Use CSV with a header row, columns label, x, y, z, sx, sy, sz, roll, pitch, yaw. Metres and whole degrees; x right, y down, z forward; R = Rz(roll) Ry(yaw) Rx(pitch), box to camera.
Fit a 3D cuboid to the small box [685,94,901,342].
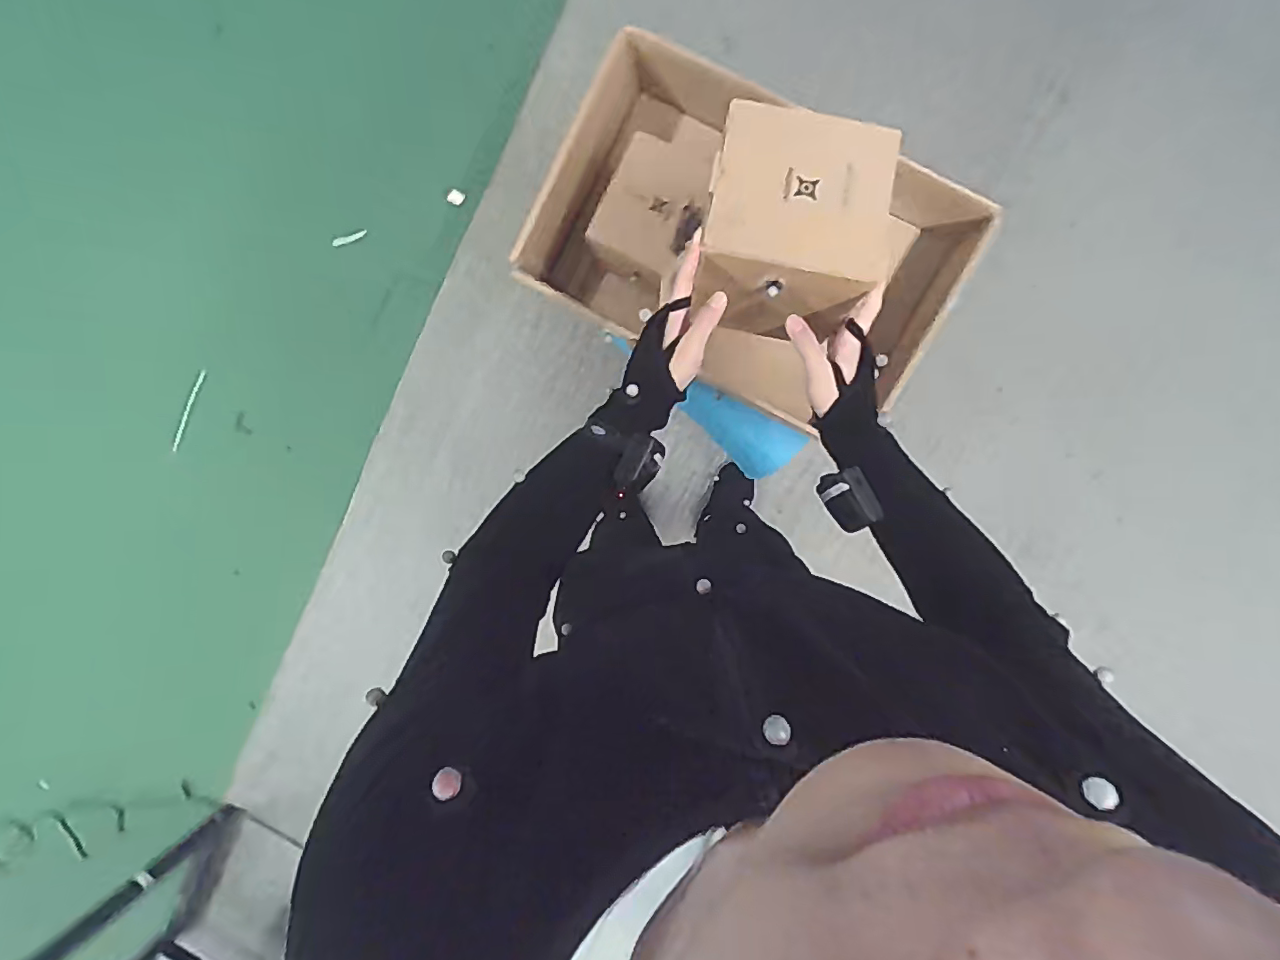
label,x,y,z,sx,sy,sz,roll,pitch,yaw
small box,0.151,-0.268,0.591,0.179,0.176,0.168,12,82,1
